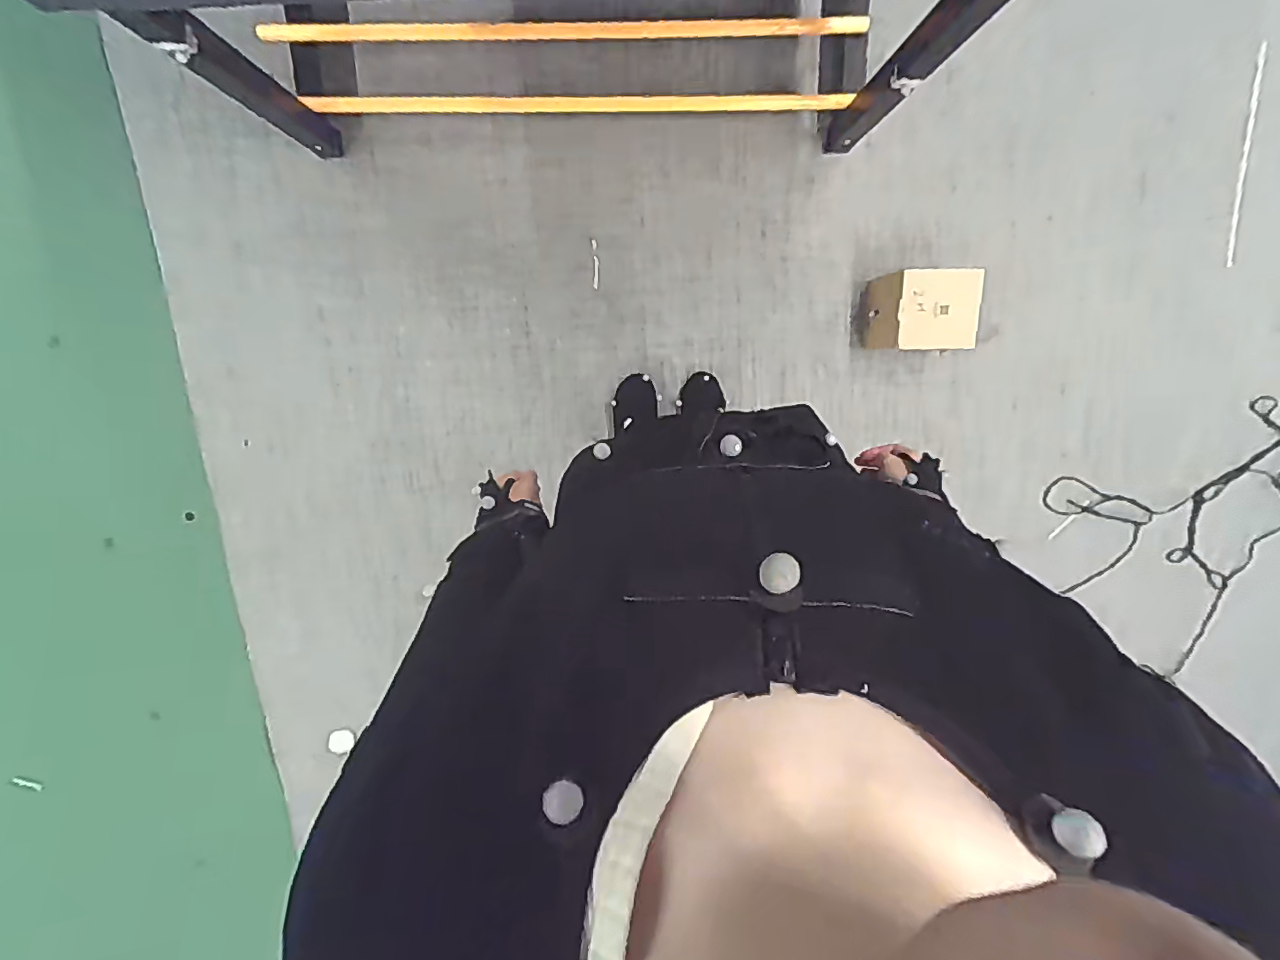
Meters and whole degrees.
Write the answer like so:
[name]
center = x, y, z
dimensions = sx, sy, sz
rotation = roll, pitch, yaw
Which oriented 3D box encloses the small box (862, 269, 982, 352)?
[small box]
center = 0.631, -0.380, 1.226
dimensions = 0.179, 0.176, 0.168
rotation = -1, 102, -1
